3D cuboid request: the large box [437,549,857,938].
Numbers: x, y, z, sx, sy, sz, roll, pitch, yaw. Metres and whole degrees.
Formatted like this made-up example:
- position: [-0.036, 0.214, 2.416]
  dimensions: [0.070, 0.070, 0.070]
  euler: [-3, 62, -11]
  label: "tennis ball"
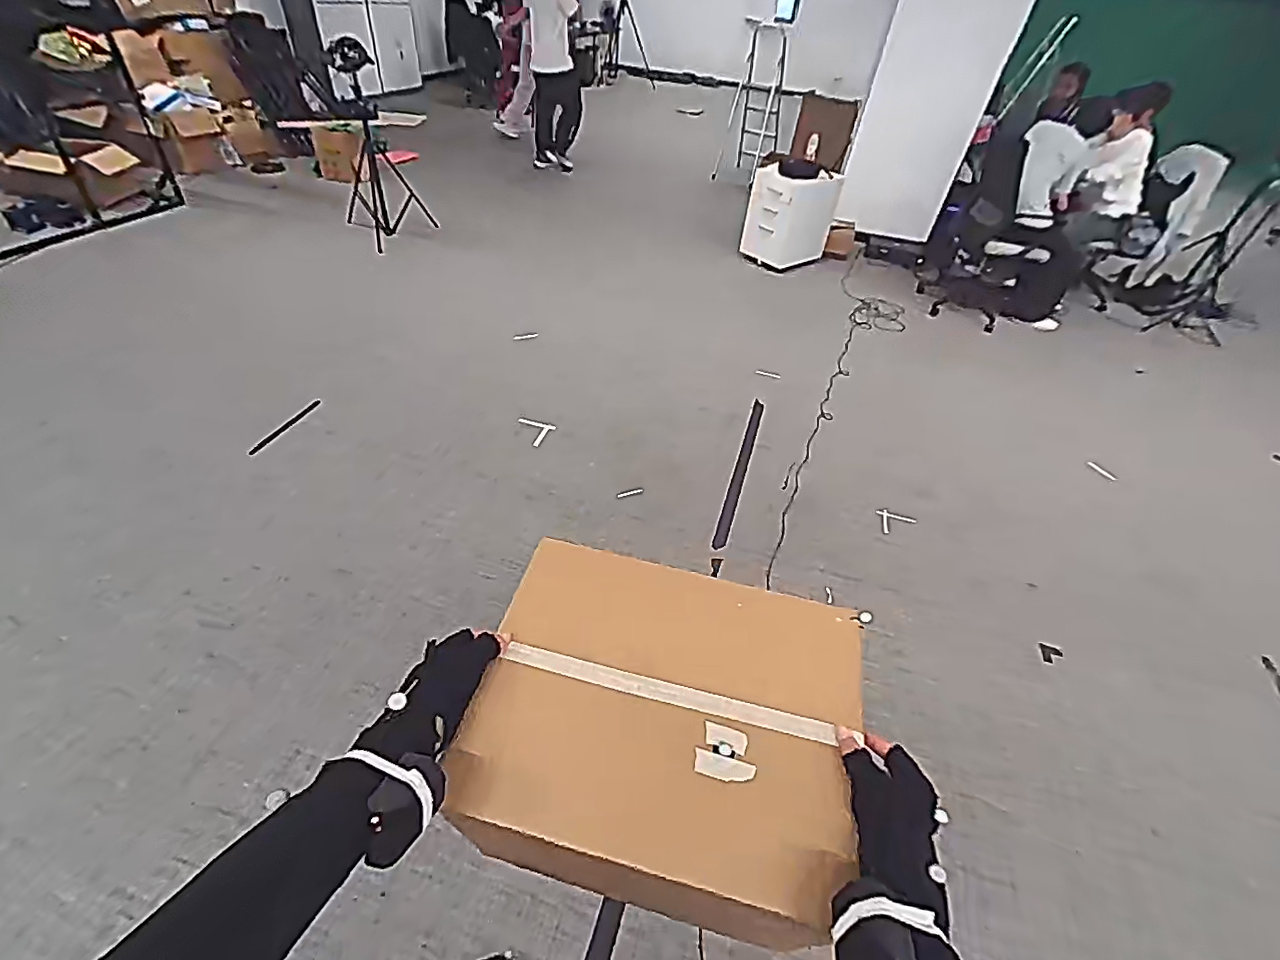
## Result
- position: [0.020, 0.335, 0.700]
  dimensions: [0.408, 0.320, 0.320]
  euler: [12, 48, 7]
  label: "large box"
